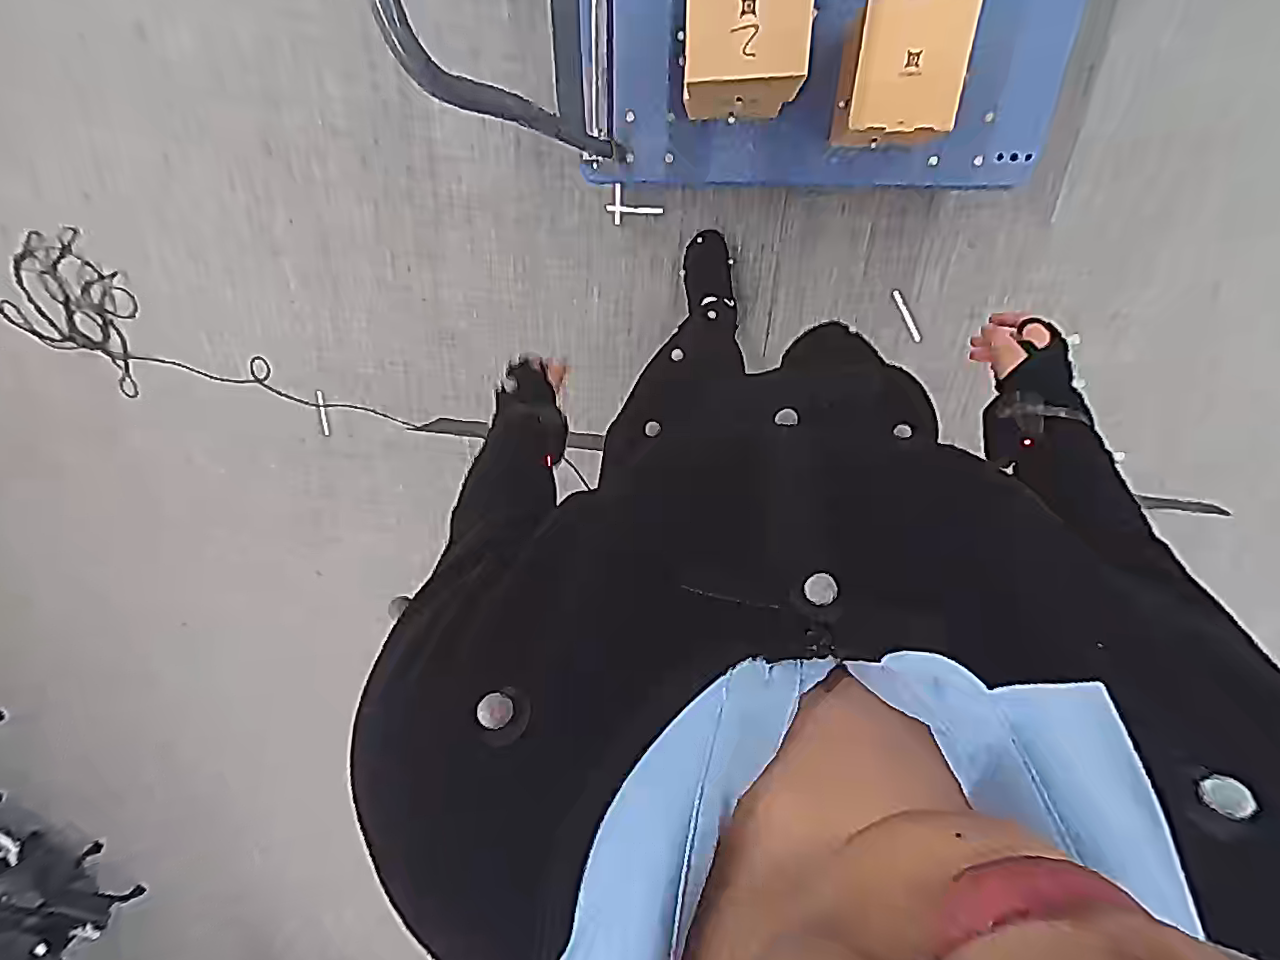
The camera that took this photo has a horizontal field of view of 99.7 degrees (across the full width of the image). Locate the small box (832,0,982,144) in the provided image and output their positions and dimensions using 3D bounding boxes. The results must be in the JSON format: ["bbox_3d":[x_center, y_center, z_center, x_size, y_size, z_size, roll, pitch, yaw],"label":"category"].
[{"bbox_3d":[0.430,-0.678,0.903,0.168,0.176,0.179,4,115,6],"label":"small box"}]

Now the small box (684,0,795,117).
[{"bbox_3d":[0.163,-0.734,0.915,0.168,0.176,0.179,3,115,7],"label":"small box"}]
